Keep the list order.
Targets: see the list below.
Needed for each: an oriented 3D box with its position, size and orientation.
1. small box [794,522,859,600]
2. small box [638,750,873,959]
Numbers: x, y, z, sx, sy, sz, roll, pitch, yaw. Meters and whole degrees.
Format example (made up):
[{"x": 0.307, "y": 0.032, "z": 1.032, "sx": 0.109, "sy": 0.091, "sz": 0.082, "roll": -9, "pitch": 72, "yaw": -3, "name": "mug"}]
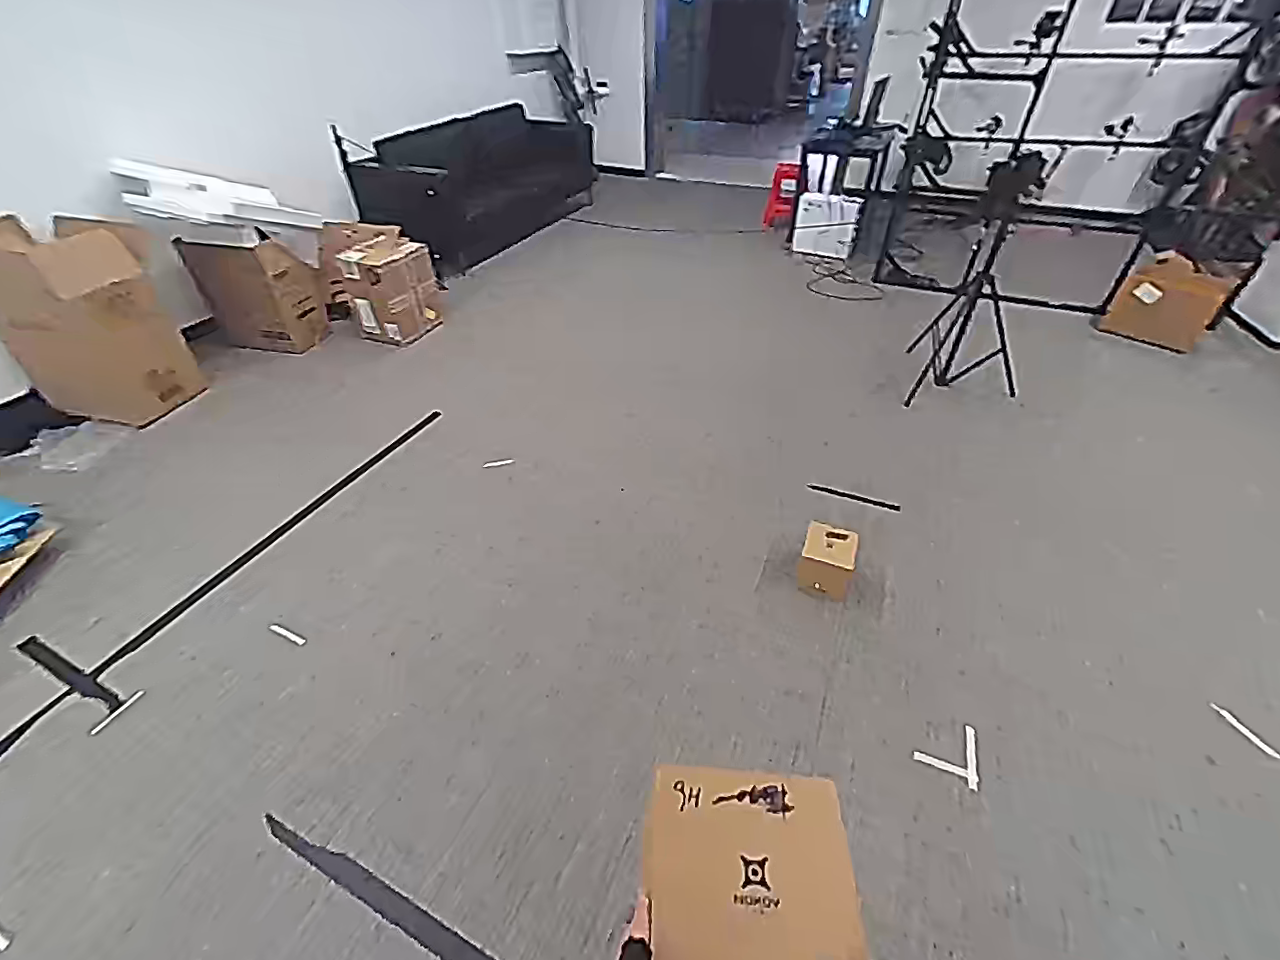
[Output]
[{"x": 0.640, "y": 0.278, "z": 1.863, "sx": 0.168, "sy": 0.176, "sz": 0.179, "roll": 15, "pitch": 44, "yaw": 18, "name": "small box"}, {"x": 0.087, "y": 0.369, "z": 0.479, "sx": 0.168, "sy": 0.176, "sz": 0.179, "roll": 5, "pitch": 41, "yaw": 1, "name": "small box"}]
